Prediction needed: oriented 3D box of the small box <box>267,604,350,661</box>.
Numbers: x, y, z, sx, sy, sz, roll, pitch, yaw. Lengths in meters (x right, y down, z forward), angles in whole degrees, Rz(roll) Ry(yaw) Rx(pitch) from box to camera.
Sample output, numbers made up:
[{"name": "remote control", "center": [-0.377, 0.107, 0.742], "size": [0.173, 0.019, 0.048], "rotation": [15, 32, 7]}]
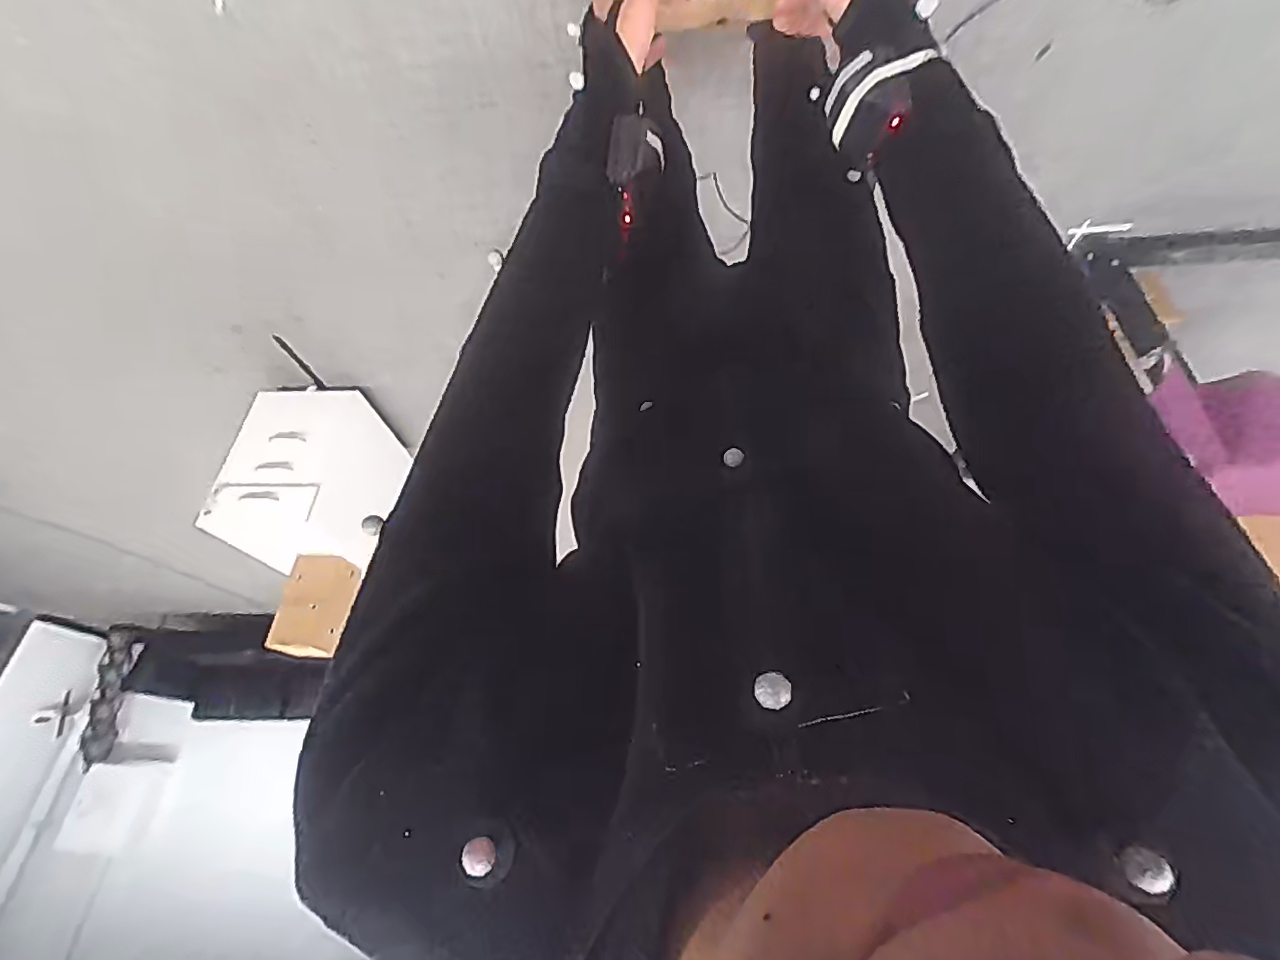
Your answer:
[{"name": "small box", "center": [-1.186, 0.551, 1.947], "size": [0.168, 0.176, 0.179], "rotation": [-1, 152, 7]}]

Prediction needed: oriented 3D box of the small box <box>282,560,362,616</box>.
[{"name": "small box", "center": [-1.182, 0.405, 2.022], "size": [0.179, 0.176, 0.168], "rotation": [1, 151, 3]}]
